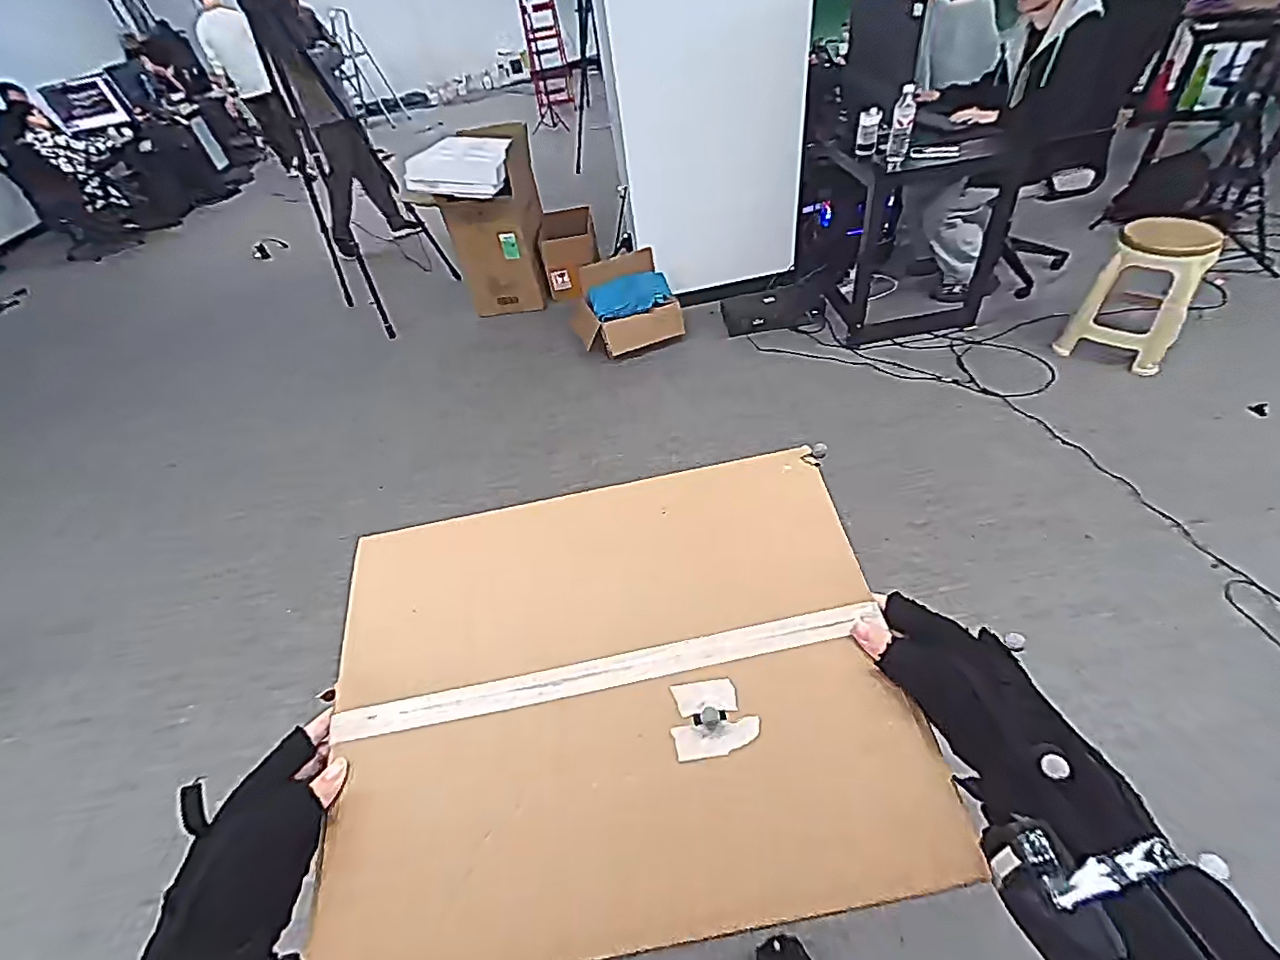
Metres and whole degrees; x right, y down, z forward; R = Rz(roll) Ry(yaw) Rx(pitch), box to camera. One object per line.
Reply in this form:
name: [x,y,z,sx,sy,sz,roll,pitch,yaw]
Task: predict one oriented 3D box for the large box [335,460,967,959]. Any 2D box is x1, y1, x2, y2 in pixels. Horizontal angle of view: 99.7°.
large box: [-0.005,0.228,0.530,0.408,0.320,0.320,-12,57,-1]
